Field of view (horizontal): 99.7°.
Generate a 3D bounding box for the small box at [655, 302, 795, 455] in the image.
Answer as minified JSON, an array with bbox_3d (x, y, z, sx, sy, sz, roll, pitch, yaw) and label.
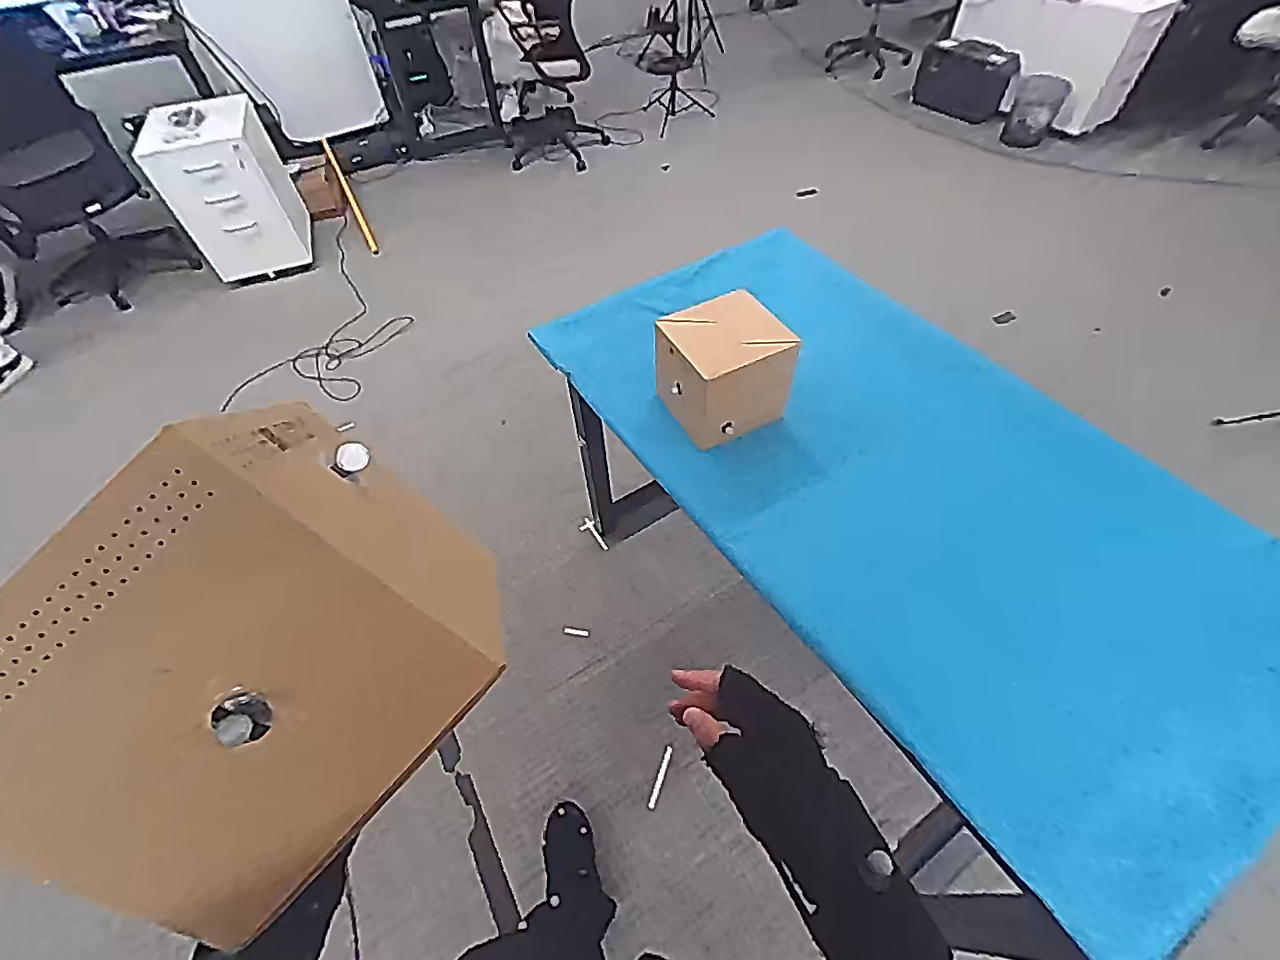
[{"bbox_3d":[0.138,-0.179,0.929,0.179,0.176,0.168,-24,56,-15],"label":"small box"}]
